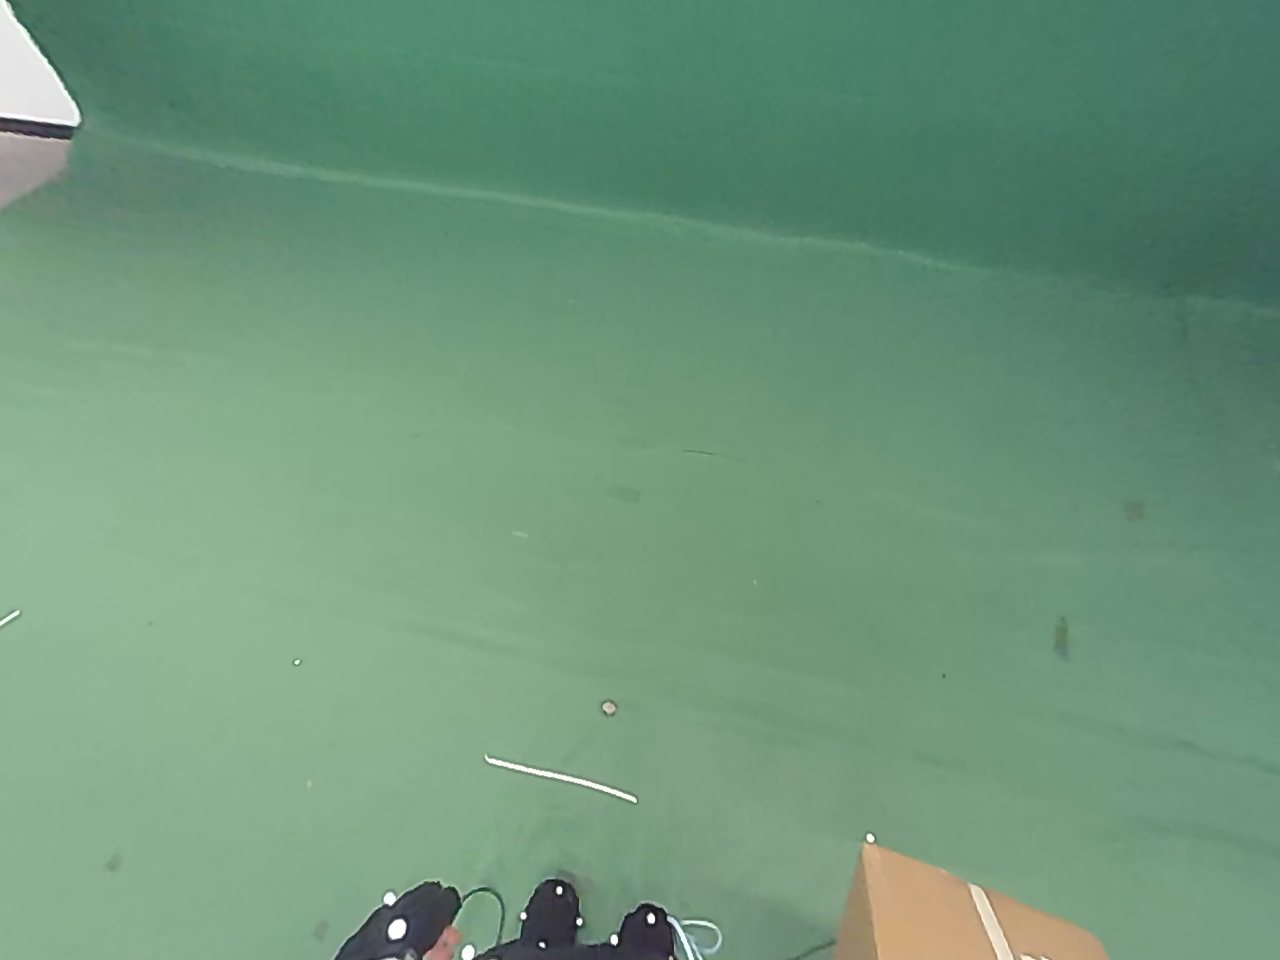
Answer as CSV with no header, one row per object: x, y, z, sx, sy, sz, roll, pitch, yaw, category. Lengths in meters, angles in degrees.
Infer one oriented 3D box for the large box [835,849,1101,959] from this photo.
0.396,0.747,0.613,0.320,0.408,0.320,15,93,17,large box
